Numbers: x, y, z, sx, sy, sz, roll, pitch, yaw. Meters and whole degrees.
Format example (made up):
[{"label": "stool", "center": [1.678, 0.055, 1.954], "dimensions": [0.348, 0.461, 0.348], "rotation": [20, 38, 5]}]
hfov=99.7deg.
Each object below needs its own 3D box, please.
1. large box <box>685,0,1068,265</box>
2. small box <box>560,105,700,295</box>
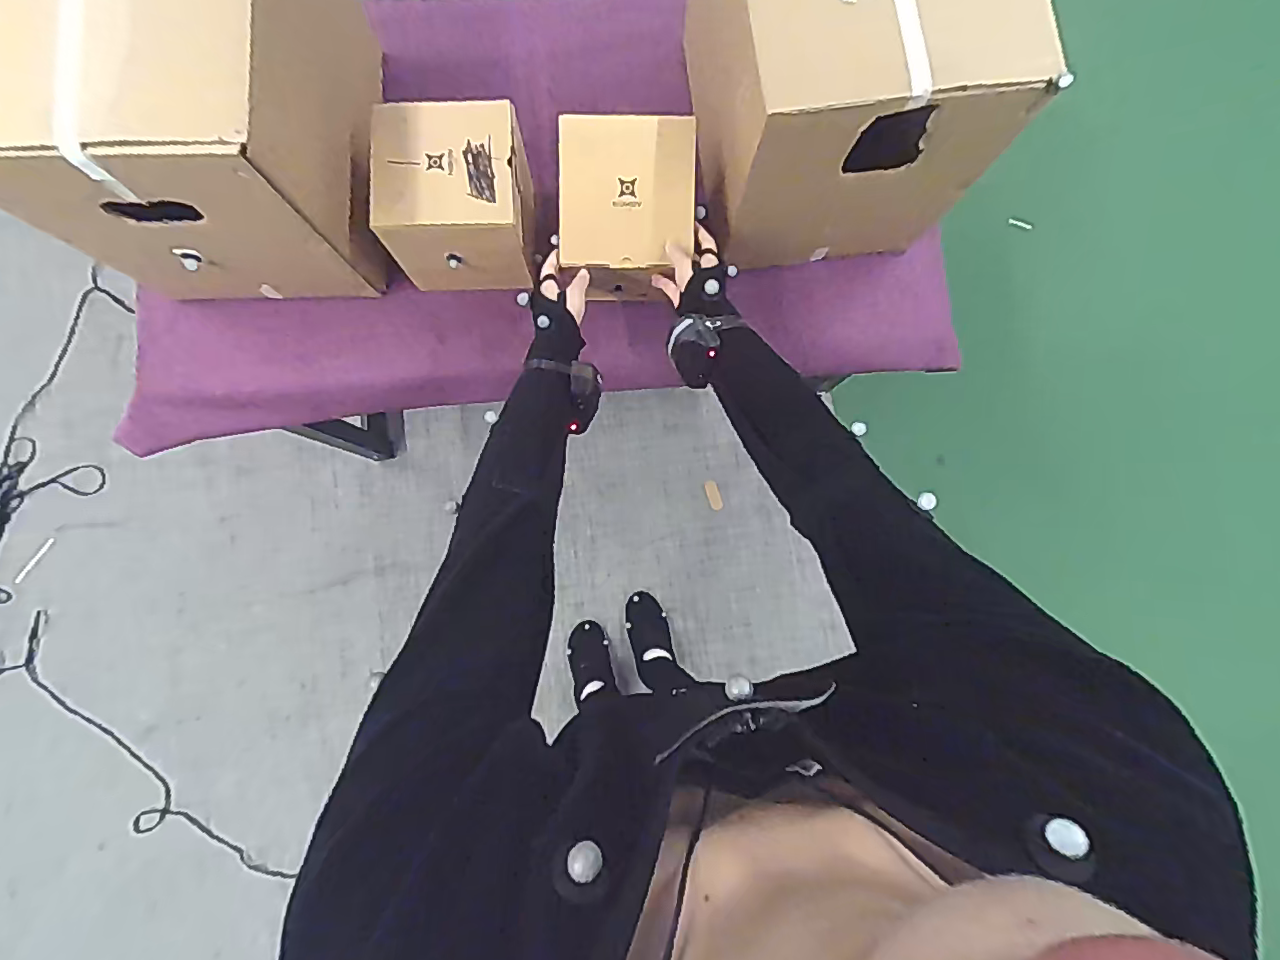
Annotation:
[{"label": "large box", "center": [0.251, -0.557, 0.706], "dimensions": [0.320, 0.320, 0.408], "rotation": [-7, 84, -1]}, {"label": "small box", "center": [-0.014, -0.360, 0.723], "dimensions": [0.168, 0.176, 0.179], "rotation": [1, 96, -1]}]
